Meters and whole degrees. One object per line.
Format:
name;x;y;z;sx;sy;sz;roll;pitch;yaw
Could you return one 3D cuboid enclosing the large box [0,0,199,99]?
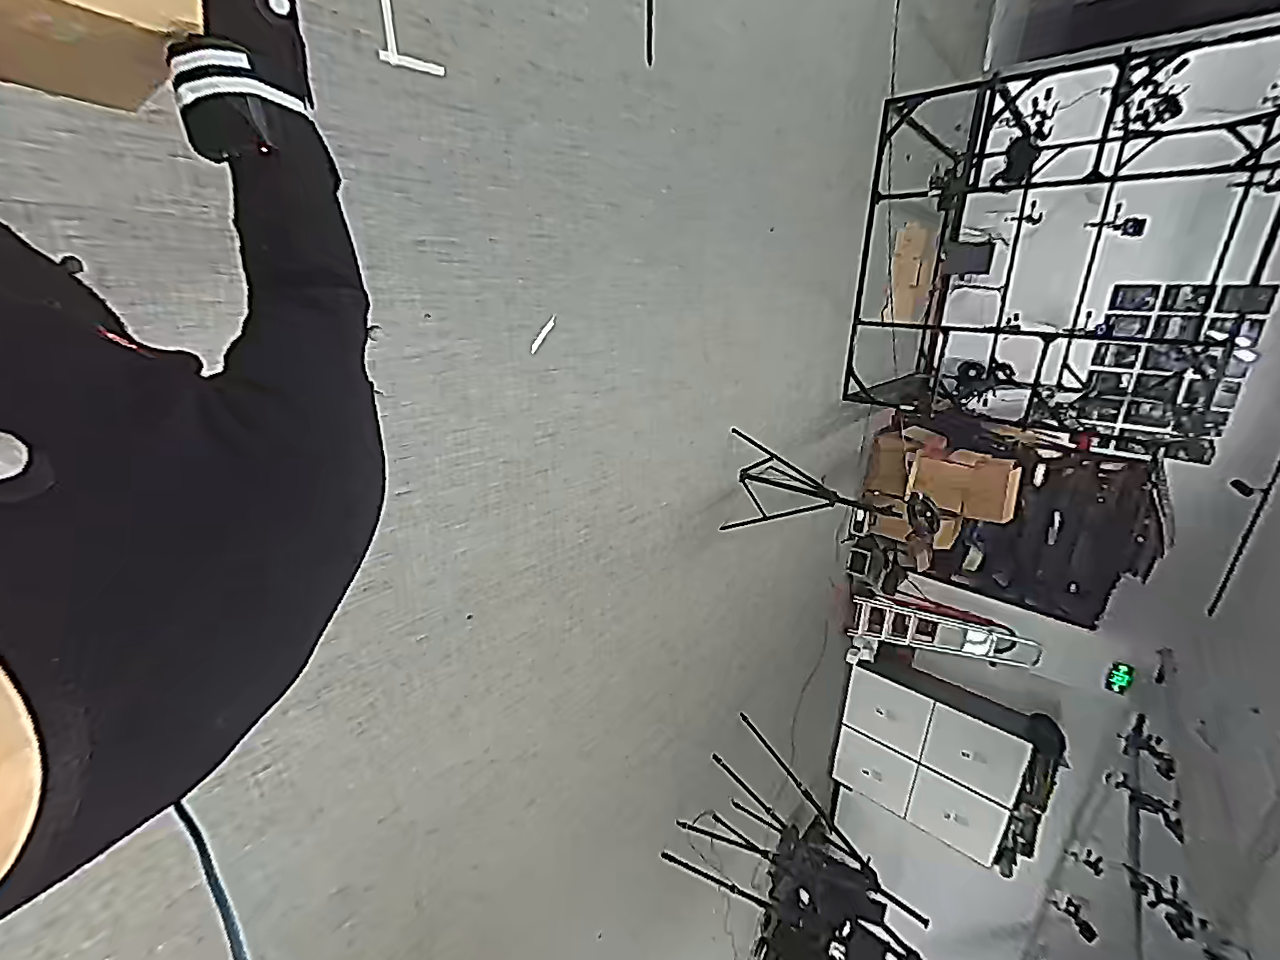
large box;-0.533;-0.458;0.276;0.408;0.320;0.320;-14;117;-47
